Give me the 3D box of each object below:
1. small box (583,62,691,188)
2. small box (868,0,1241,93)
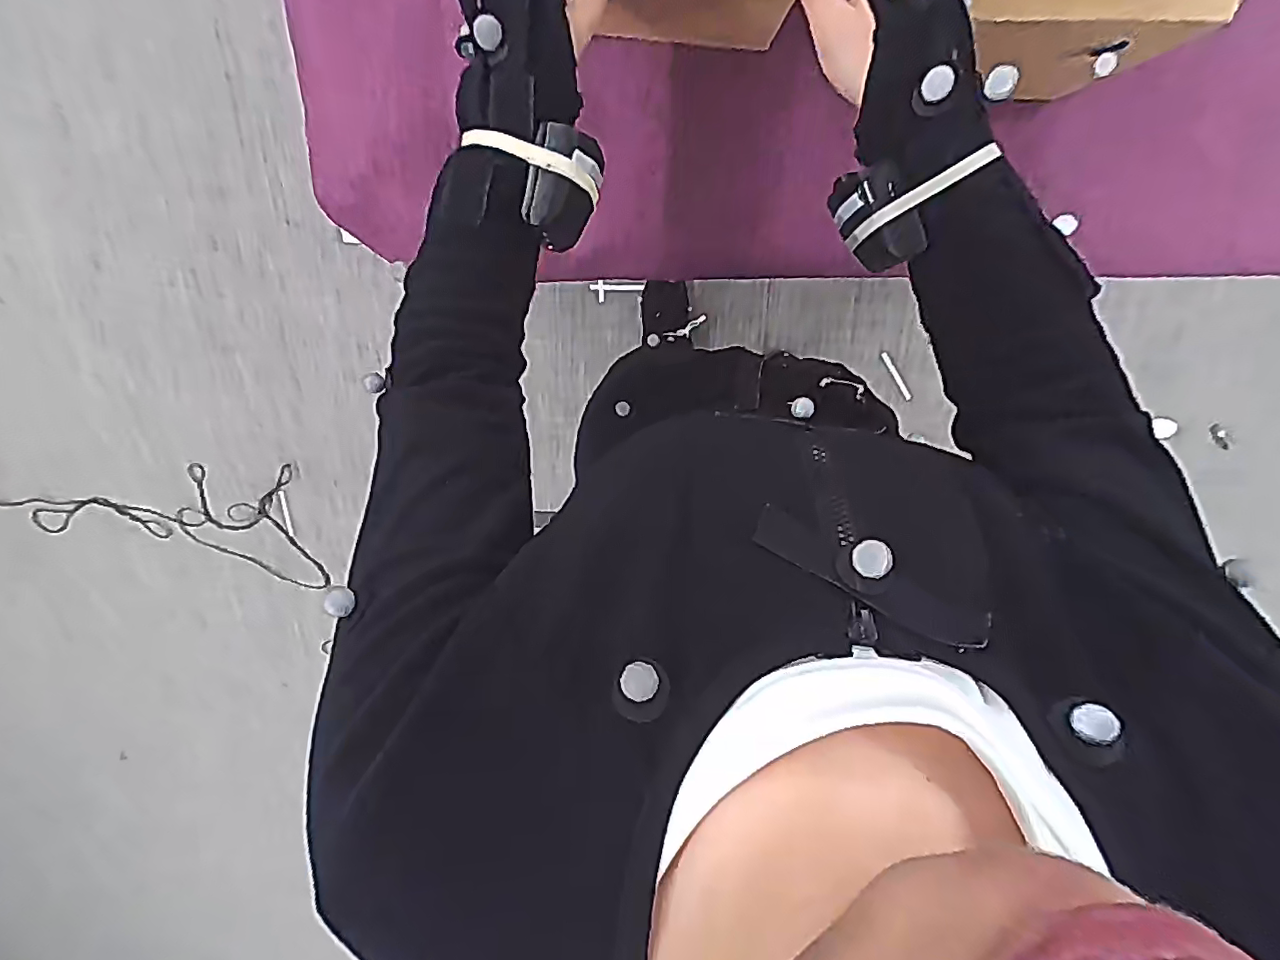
[{"bbox_3d":[-0.005,-0.626,0.968,0.179,0.176,0.168,0,114,1],"label":"small box"},{"bbox_3d":[0.291,-0.400,0.385,0.179,0.176,0.168,1,110,0],"label":"small box"}]
